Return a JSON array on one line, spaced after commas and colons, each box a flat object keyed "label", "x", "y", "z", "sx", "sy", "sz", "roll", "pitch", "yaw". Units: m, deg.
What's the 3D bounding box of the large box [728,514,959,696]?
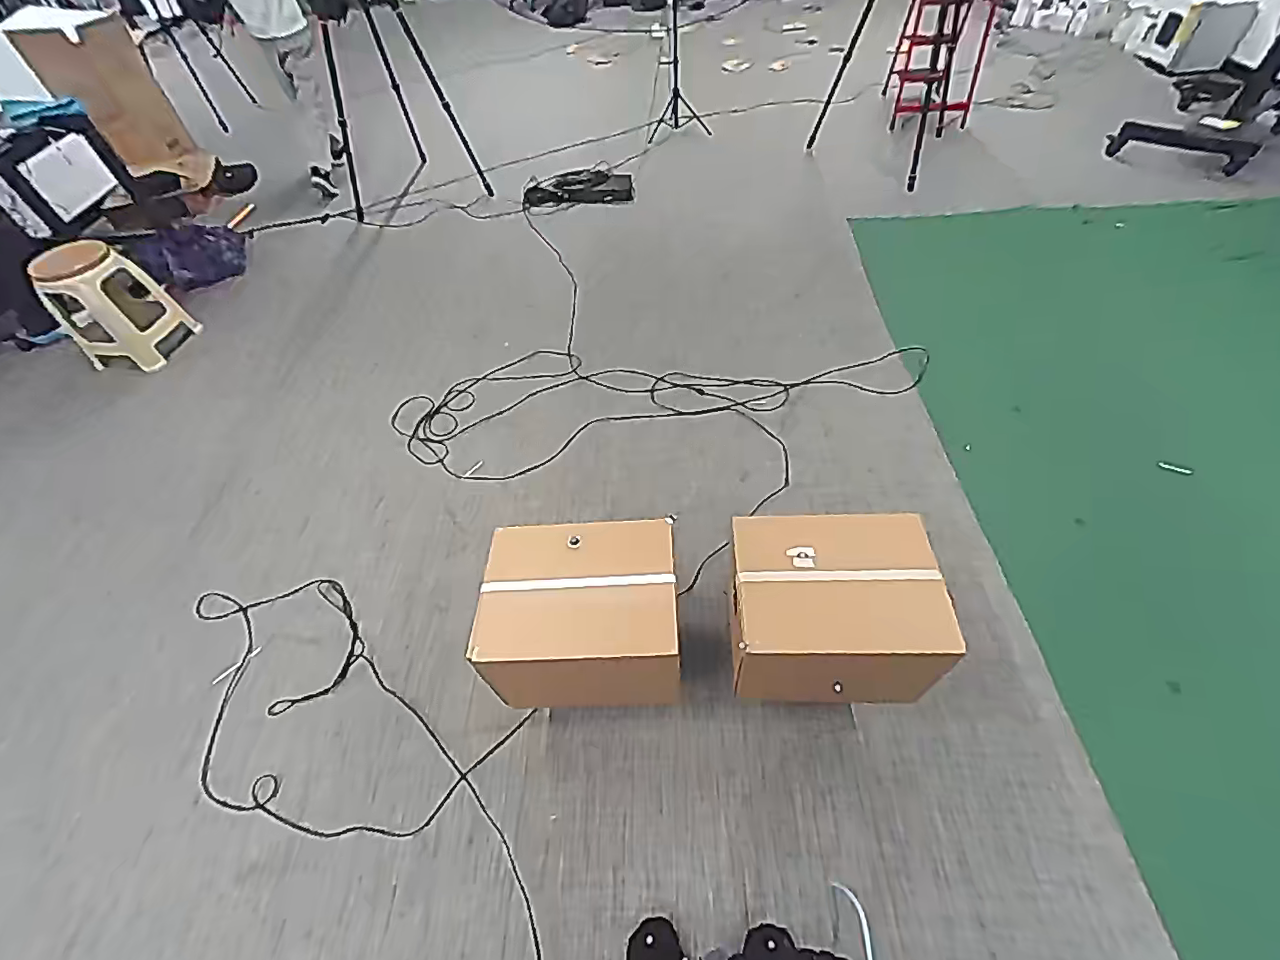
[{"label": "large box", "x": 0.416, "y": 0.293, "z": 1.227, "sx": 0.408, "sy": 0.320, "sz": 0.320, "roll": -1, "pitch": 51, "yaw": 5}]
